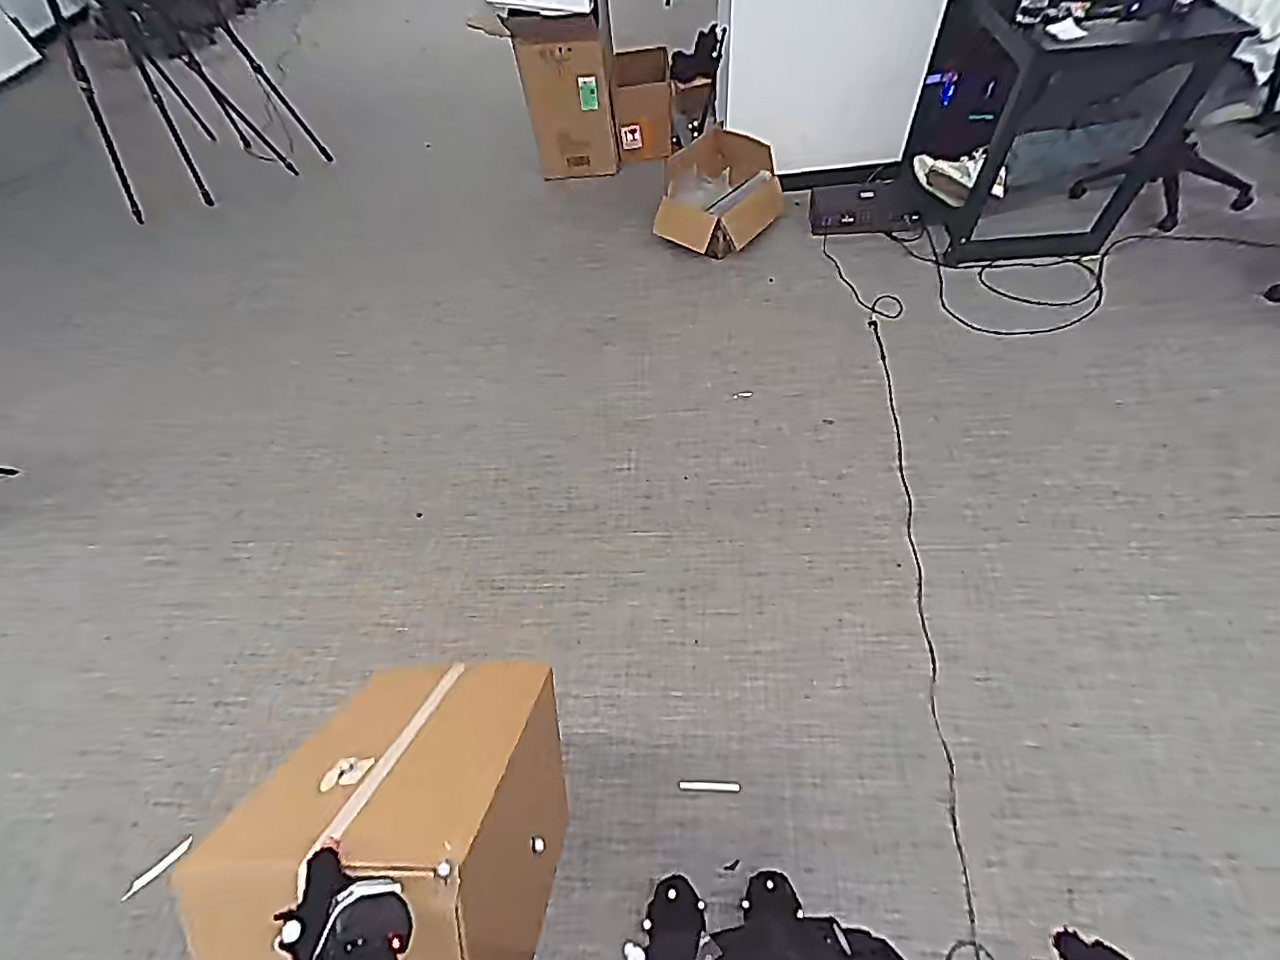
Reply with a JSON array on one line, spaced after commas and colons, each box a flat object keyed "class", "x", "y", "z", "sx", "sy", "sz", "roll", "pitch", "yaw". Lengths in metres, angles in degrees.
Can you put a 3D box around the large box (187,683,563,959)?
[{"class": "large box", "x": -0.310, "y": 0.541, "z": 0.779, "sx": 0.320, "sy": 0.408, "sz": 0.320, "roll": -5, "pitch": 99, "yaw": 5}]
